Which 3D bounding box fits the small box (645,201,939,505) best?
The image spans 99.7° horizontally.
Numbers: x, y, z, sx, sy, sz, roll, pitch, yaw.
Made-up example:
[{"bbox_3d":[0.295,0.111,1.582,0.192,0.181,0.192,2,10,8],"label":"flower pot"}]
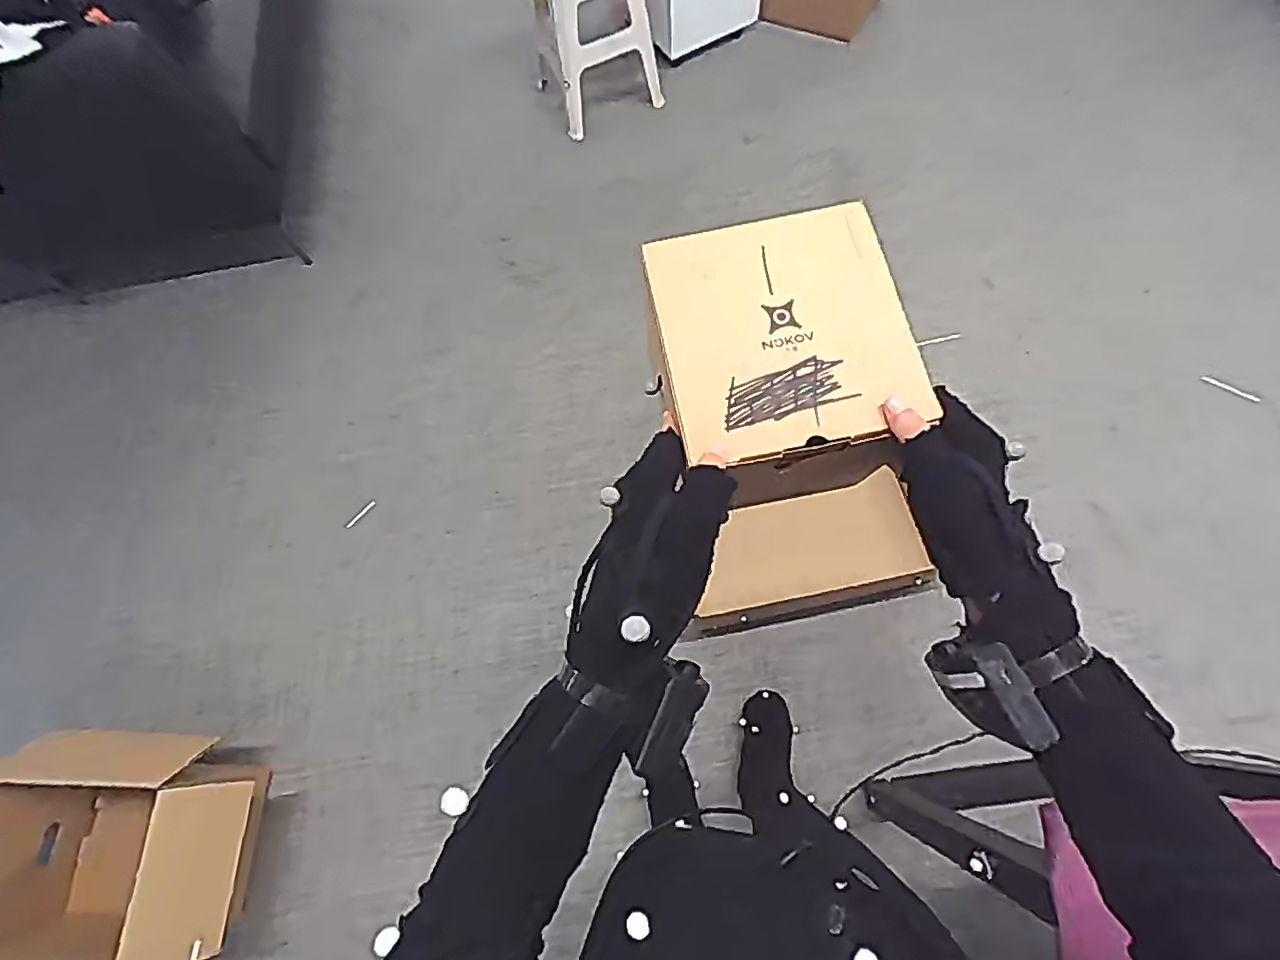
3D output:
[{"bbox_3d":[0.103,-0.085,0.446,0.168,0.176,0.179,-11,74,0],"label":"small box"}]
